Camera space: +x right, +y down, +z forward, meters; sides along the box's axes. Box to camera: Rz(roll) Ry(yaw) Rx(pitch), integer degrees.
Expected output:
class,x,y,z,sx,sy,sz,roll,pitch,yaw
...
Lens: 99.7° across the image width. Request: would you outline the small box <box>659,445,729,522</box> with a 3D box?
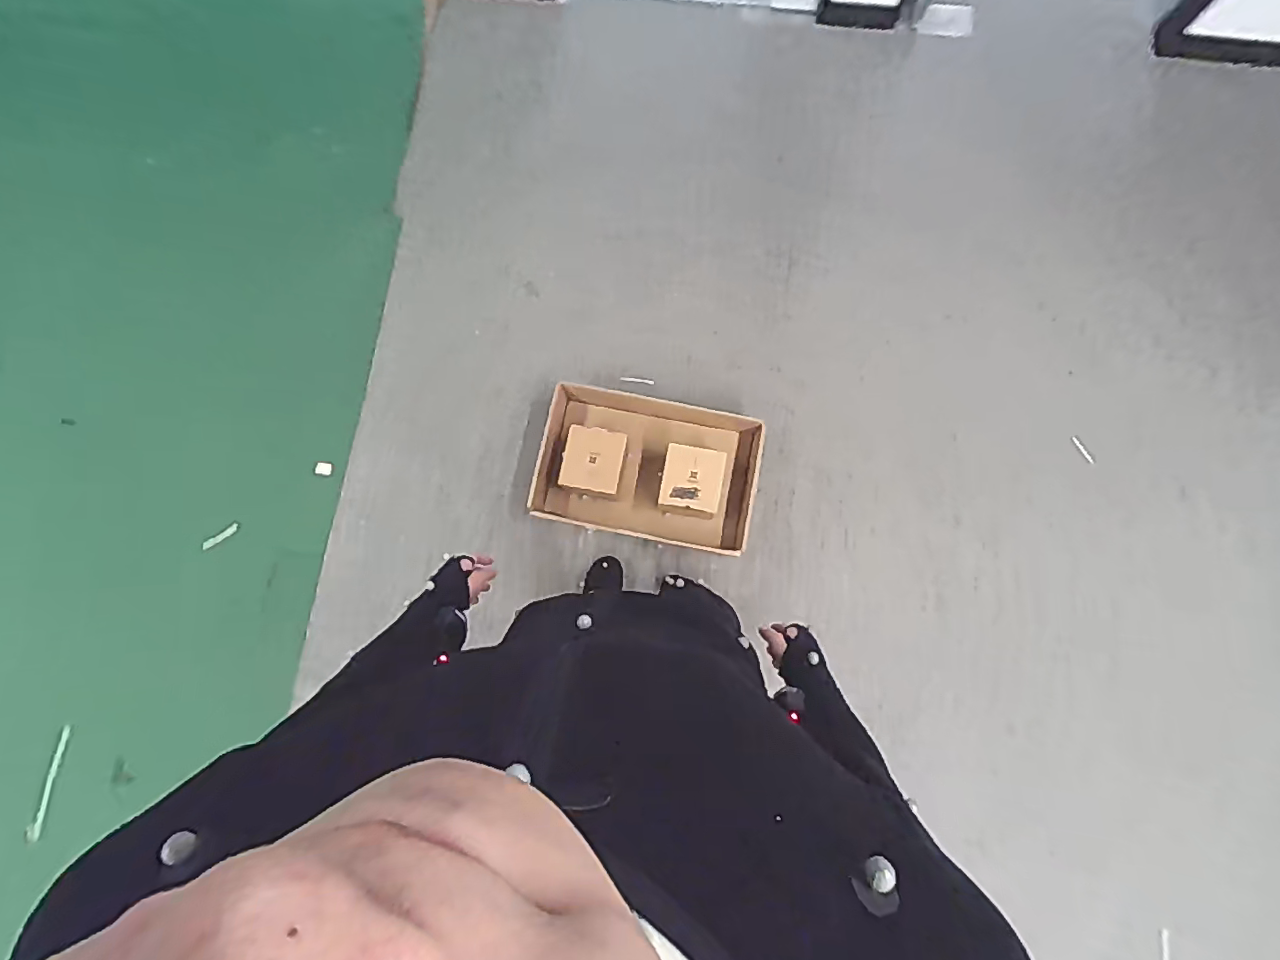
class,x,y,z,sx,sy,sz,roll,pitch,yaw
small box,0.150,0.016,1.542,0.168,0.176,0.179,11,79,3
